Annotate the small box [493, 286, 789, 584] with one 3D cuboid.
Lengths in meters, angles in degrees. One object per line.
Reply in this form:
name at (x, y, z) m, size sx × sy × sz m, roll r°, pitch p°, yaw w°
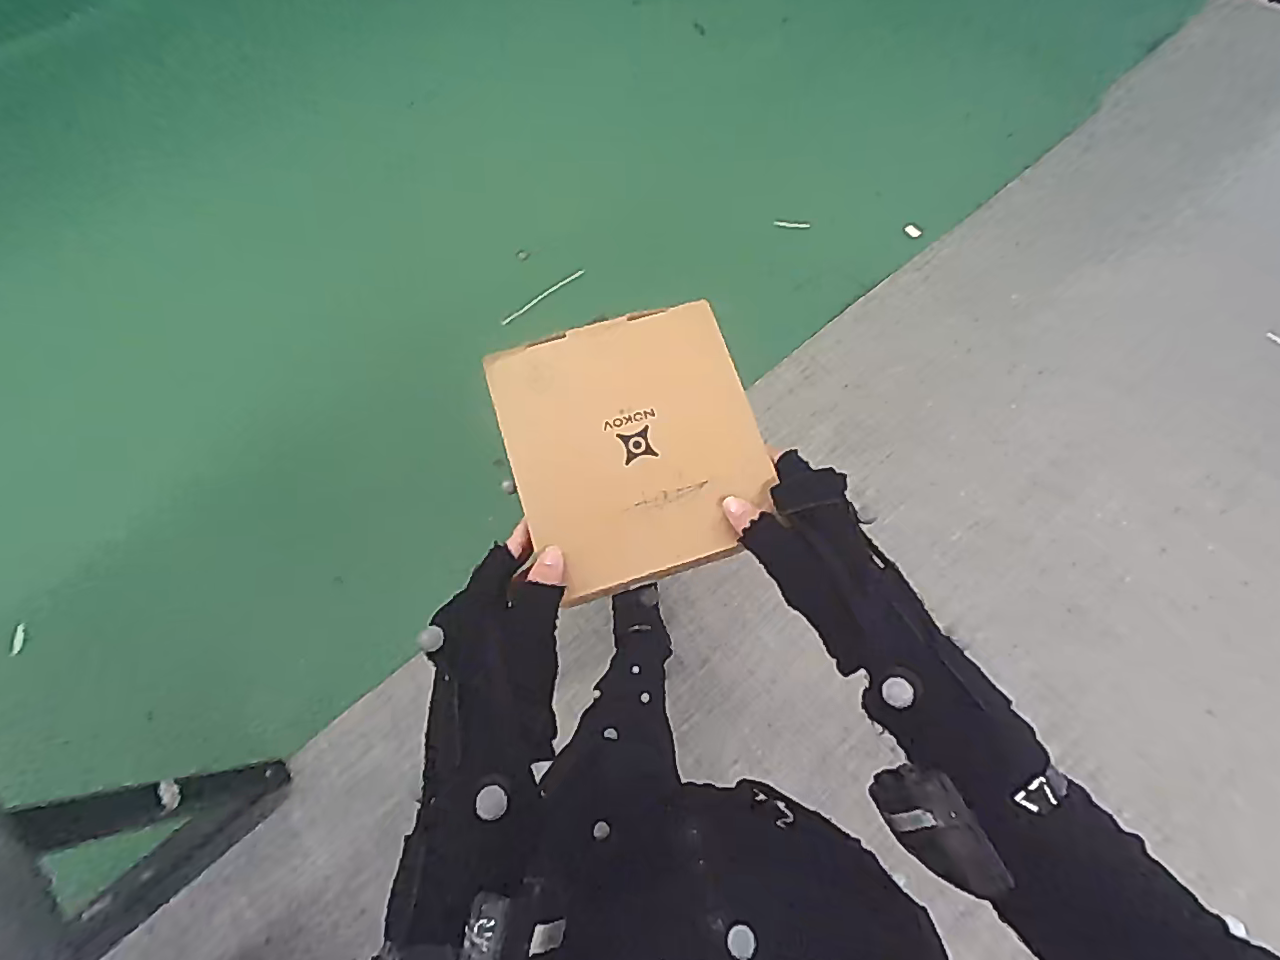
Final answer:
small box at (-0.007, -0.022, 0.445) m, size 0.168 × 0.176 × 0.179 m, roll -17°, pitch 79°, yaw -7°
